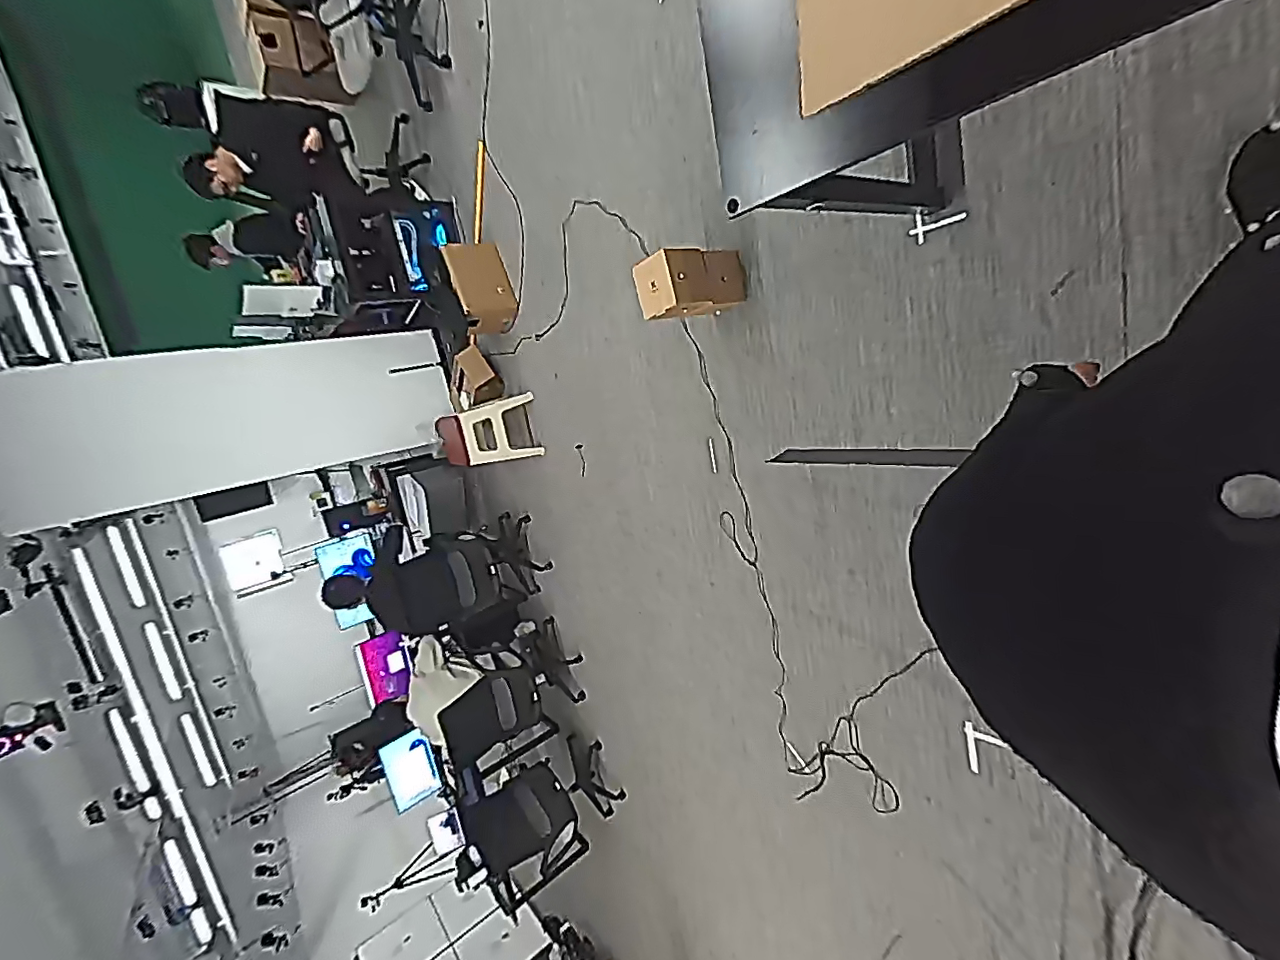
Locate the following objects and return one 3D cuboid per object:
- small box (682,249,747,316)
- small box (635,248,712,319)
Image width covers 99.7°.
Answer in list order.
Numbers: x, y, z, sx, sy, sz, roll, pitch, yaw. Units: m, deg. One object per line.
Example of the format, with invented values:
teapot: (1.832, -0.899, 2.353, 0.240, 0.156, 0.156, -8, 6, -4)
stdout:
small box: (0.239, -0.674, 1.849, 0.168, 0.176, 0.179, -2, 104, 53)
small box: (0.113, -0.638, 1.753, 0.168, 0.176, 0.179, -7, 99, 53)
